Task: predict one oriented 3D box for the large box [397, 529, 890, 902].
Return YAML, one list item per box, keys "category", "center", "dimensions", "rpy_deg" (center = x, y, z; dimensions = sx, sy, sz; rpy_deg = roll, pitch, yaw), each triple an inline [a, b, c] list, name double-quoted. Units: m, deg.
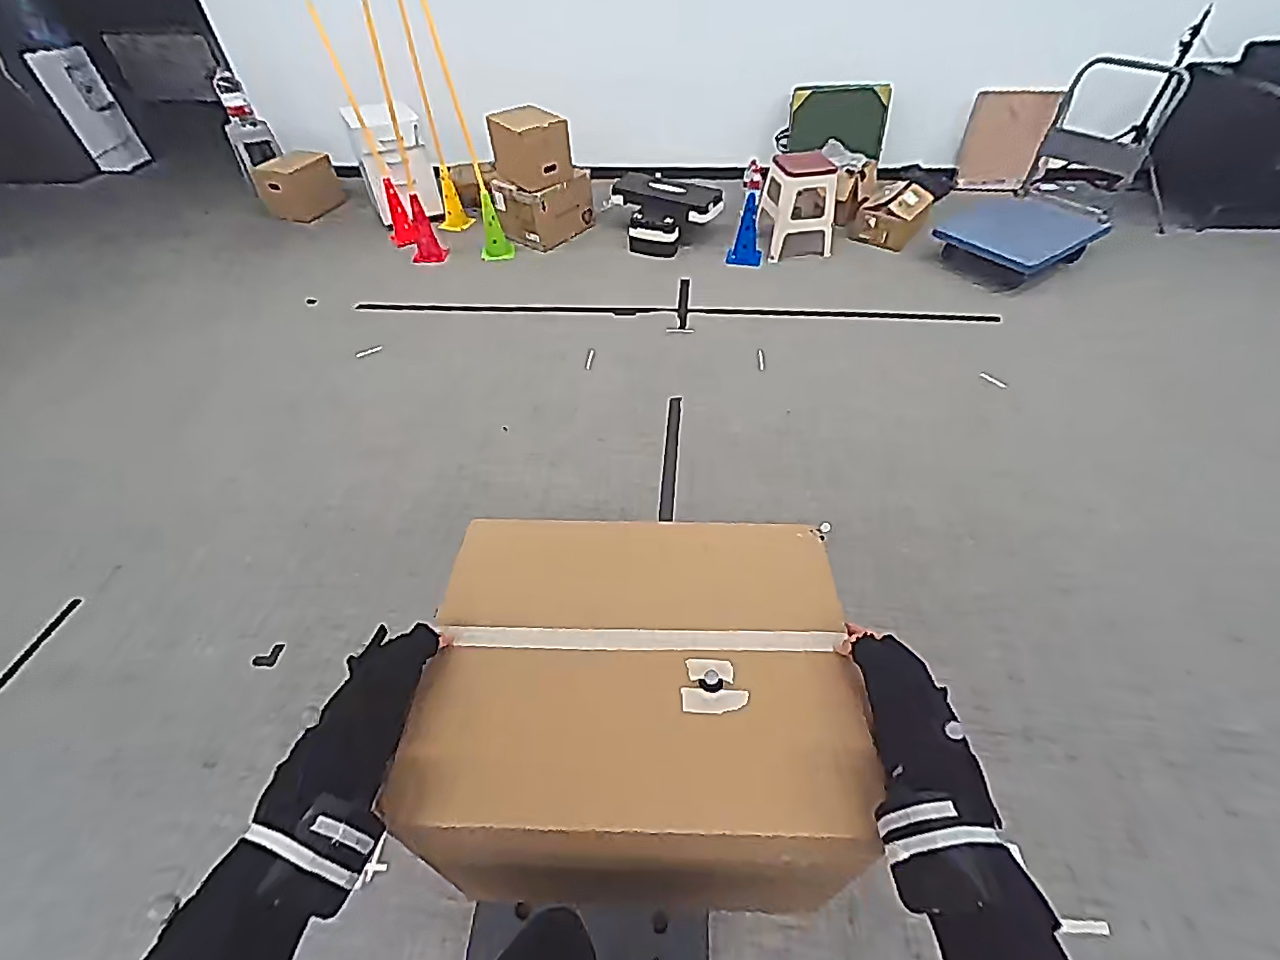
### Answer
- category: "large box"
  center: [0.004, 0.273, 0.637]
  dimensions: [0.408, 0.320, 0.320]
  rpy_deg: [1, 43, 2]
